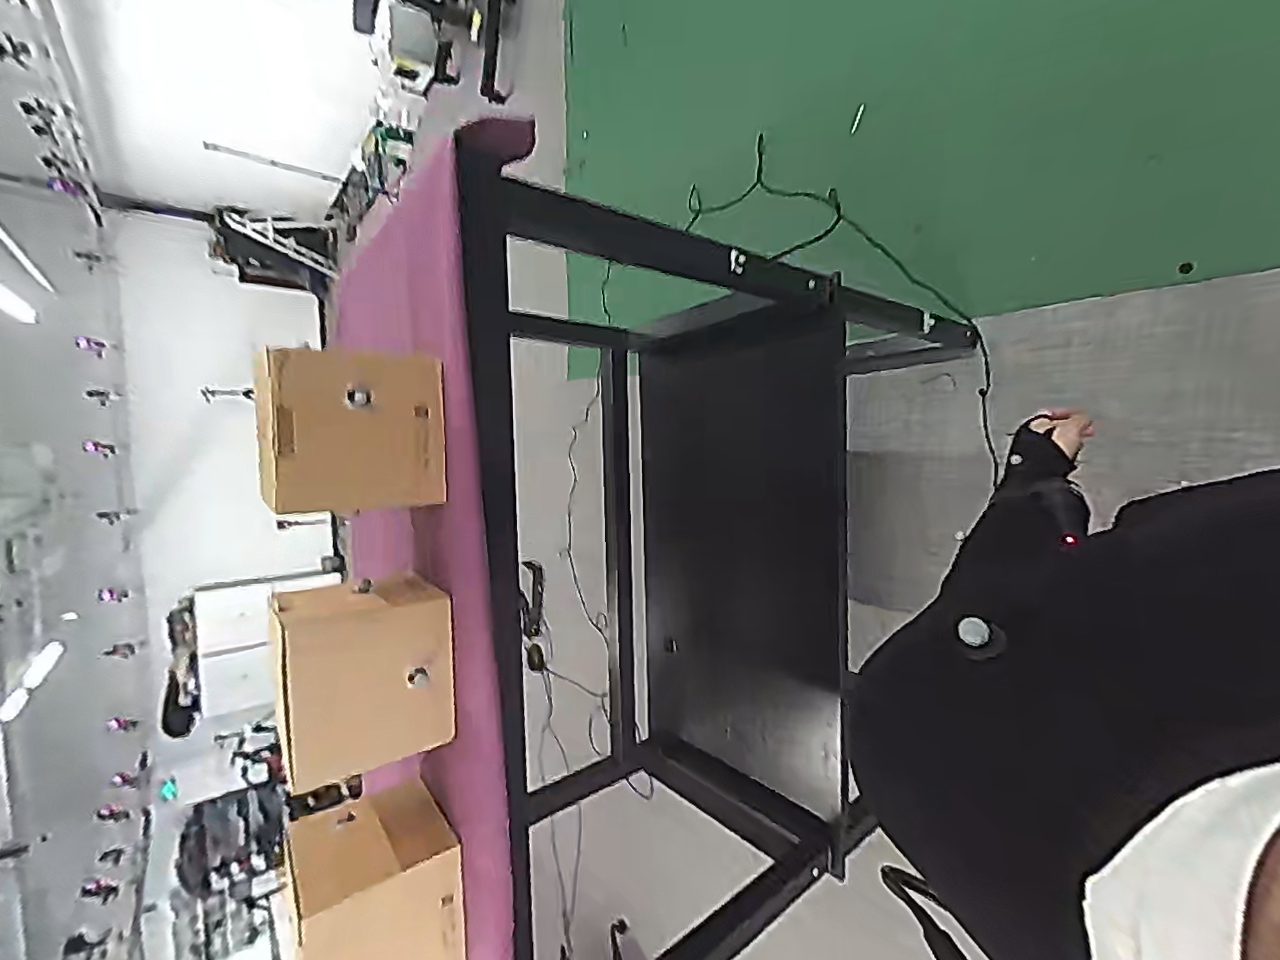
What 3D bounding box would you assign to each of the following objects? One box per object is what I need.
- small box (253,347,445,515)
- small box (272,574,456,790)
[{"bbox_3d":[-0.335,-0.061,0.630,0.179,0.176,0.168,9,100,51],"label":"small box"},{"bbox_3d":[-0.329,0.218,0.646,0.168,0.176,0.179,3,95,53],"label":"small box"}]
